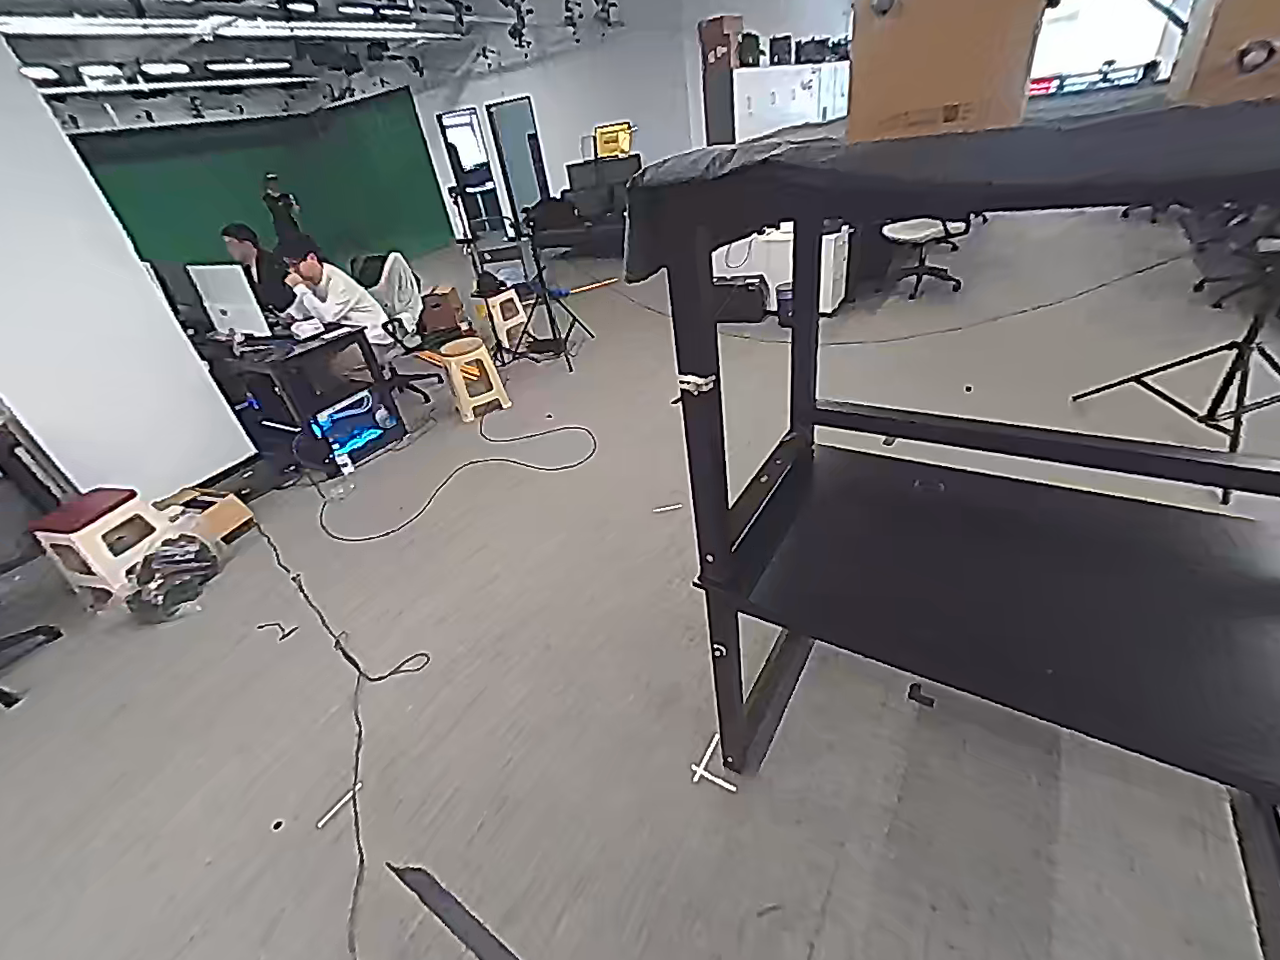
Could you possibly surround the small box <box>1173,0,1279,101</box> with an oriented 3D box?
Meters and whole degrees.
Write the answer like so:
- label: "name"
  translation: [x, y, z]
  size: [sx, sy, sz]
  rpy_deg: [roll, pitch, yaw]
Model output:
- label: "small box"
  translation: [0.574, -0.418, 0.433]
  size: [0.168, 0.176, 0.179]
  rpy_deg: [14, 38, 31]
